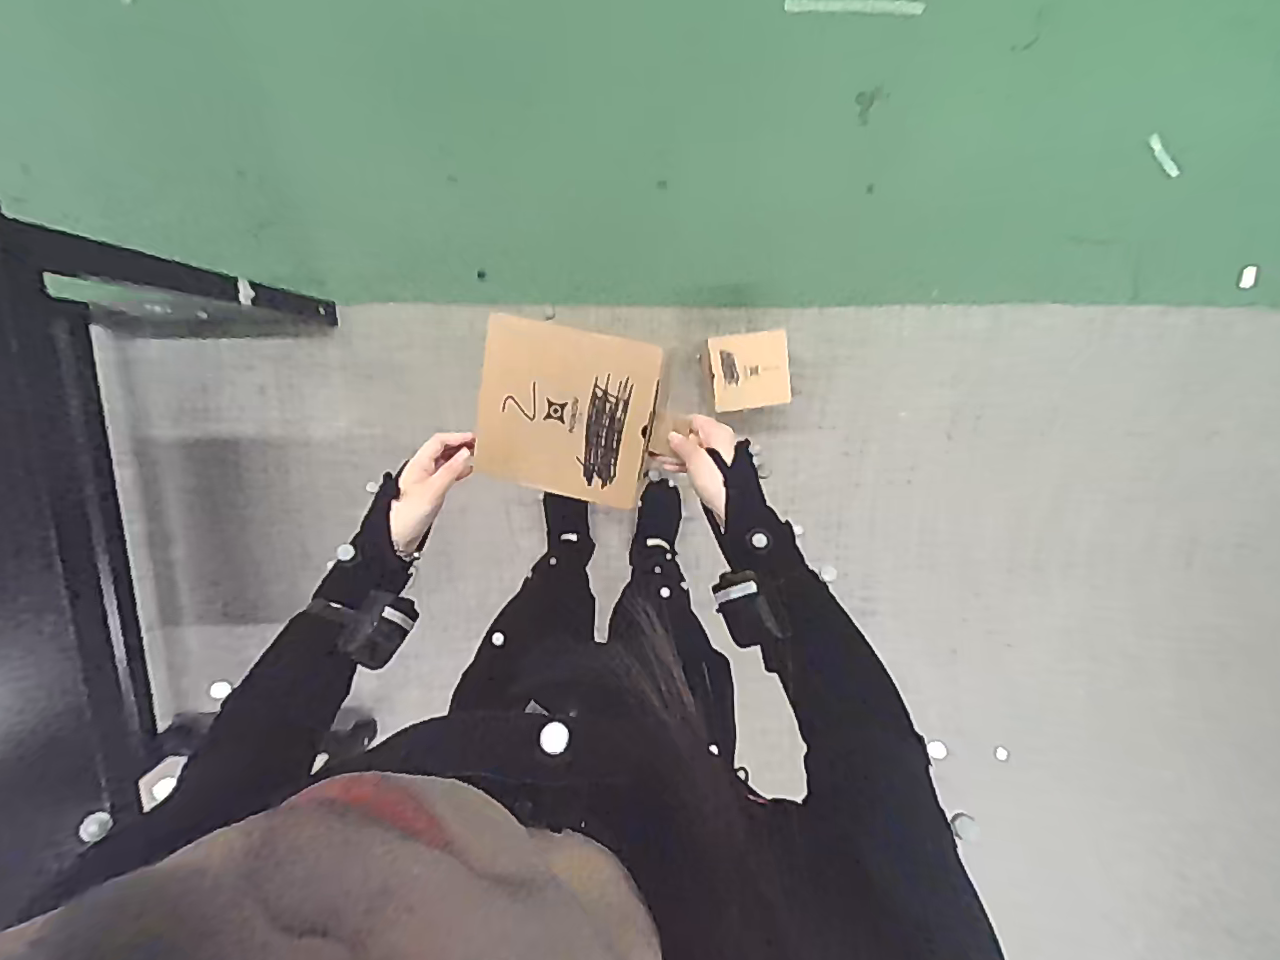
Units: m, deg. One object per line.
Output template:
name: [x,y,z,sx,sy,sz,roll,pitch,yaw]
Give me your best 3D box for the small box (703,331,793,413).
small box: [0.246,-0.249,1.268,0.179,0.176,0.168,-7,101,0]
